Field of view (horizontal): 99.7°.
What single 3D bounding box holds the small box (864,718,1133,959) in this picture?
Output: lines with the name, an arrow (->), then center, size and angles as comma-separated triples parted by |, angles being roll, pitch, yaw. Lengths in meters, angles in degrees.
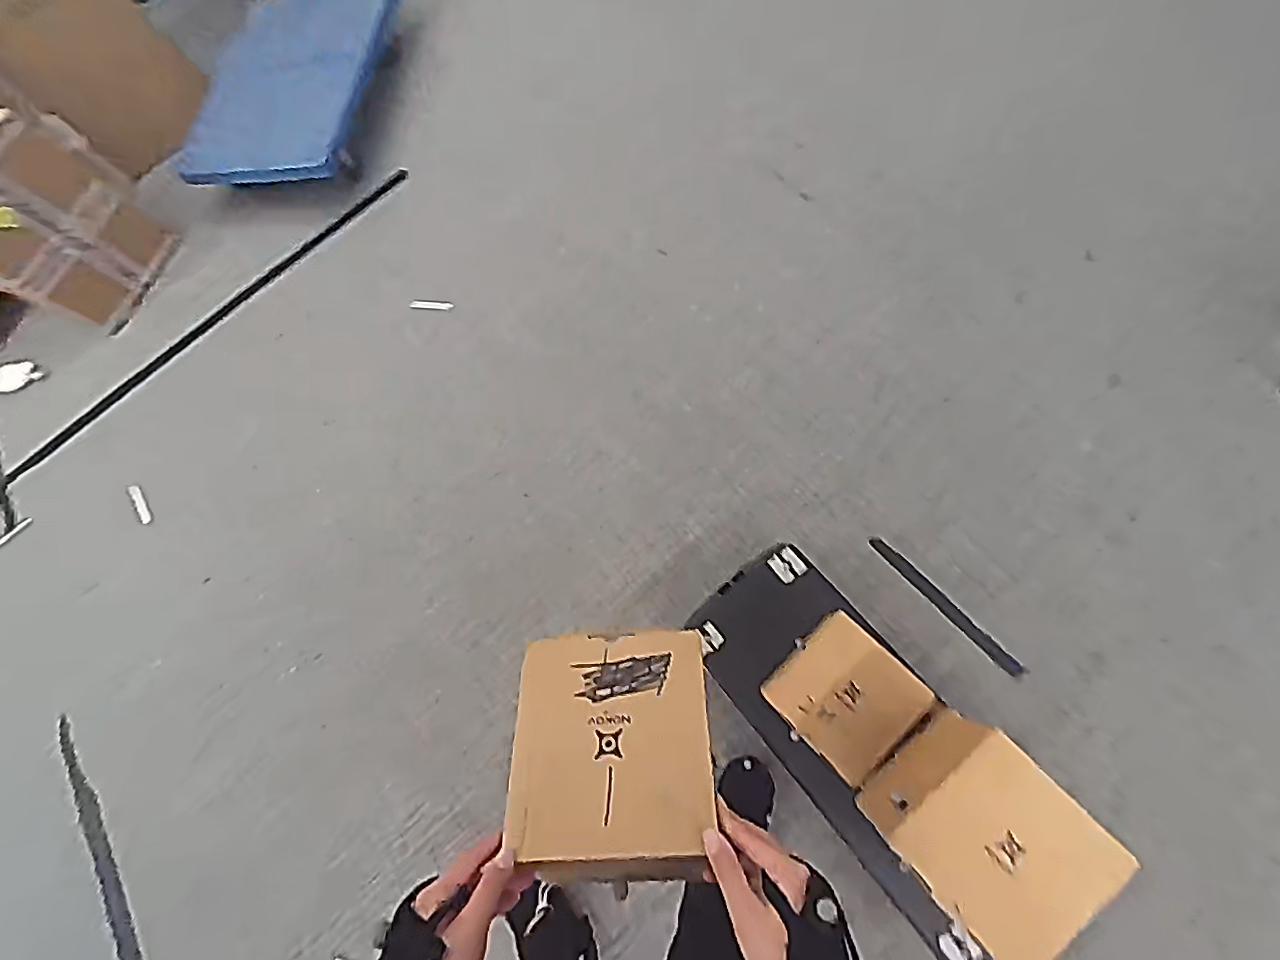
small box -> 0.394, 0.408, 0.636 | 0.179, 0.176, 0.168 | -42, 70, -4

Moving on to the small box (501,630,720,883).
small box -> -0.018, 0.263, 0.513 | 0.168, 0.176, 0.179 | -5, 49, 3

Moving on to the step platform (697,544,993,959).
step platform -> 0.413, 0.444, 0.980 | 0.286, 0.204, 0.684 | -40, 68, -4
